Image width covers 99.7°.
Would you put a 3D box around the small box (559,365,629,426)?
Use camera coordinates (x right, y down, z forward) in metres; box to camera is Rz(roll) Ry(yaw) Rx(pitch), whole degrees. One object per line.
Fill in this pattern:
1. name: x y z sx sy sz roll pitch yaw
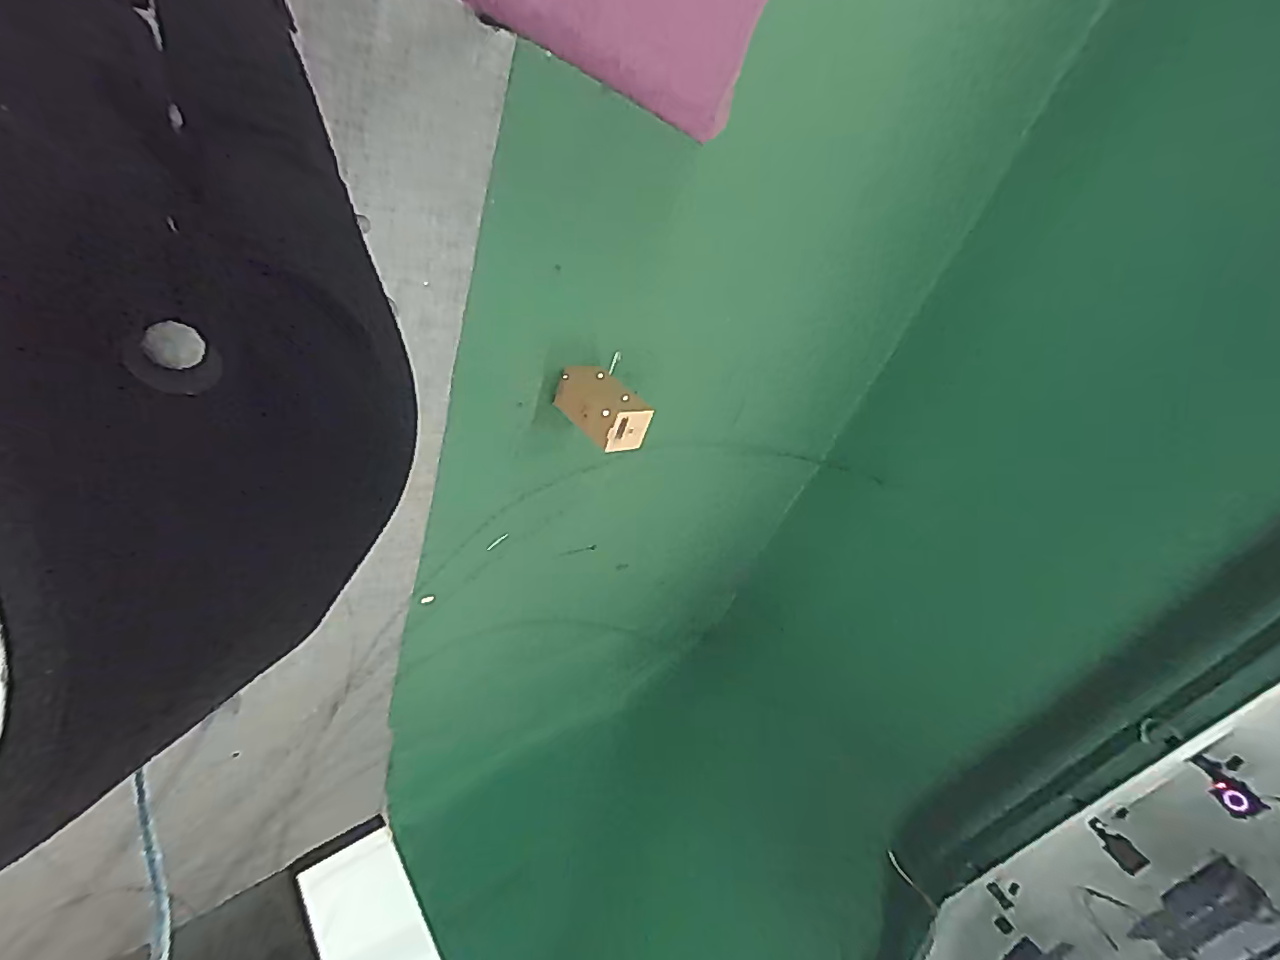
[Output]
1. small box: -0.179 -0.320 2.034 0.179 0.176 0.168 -10 133 -44
